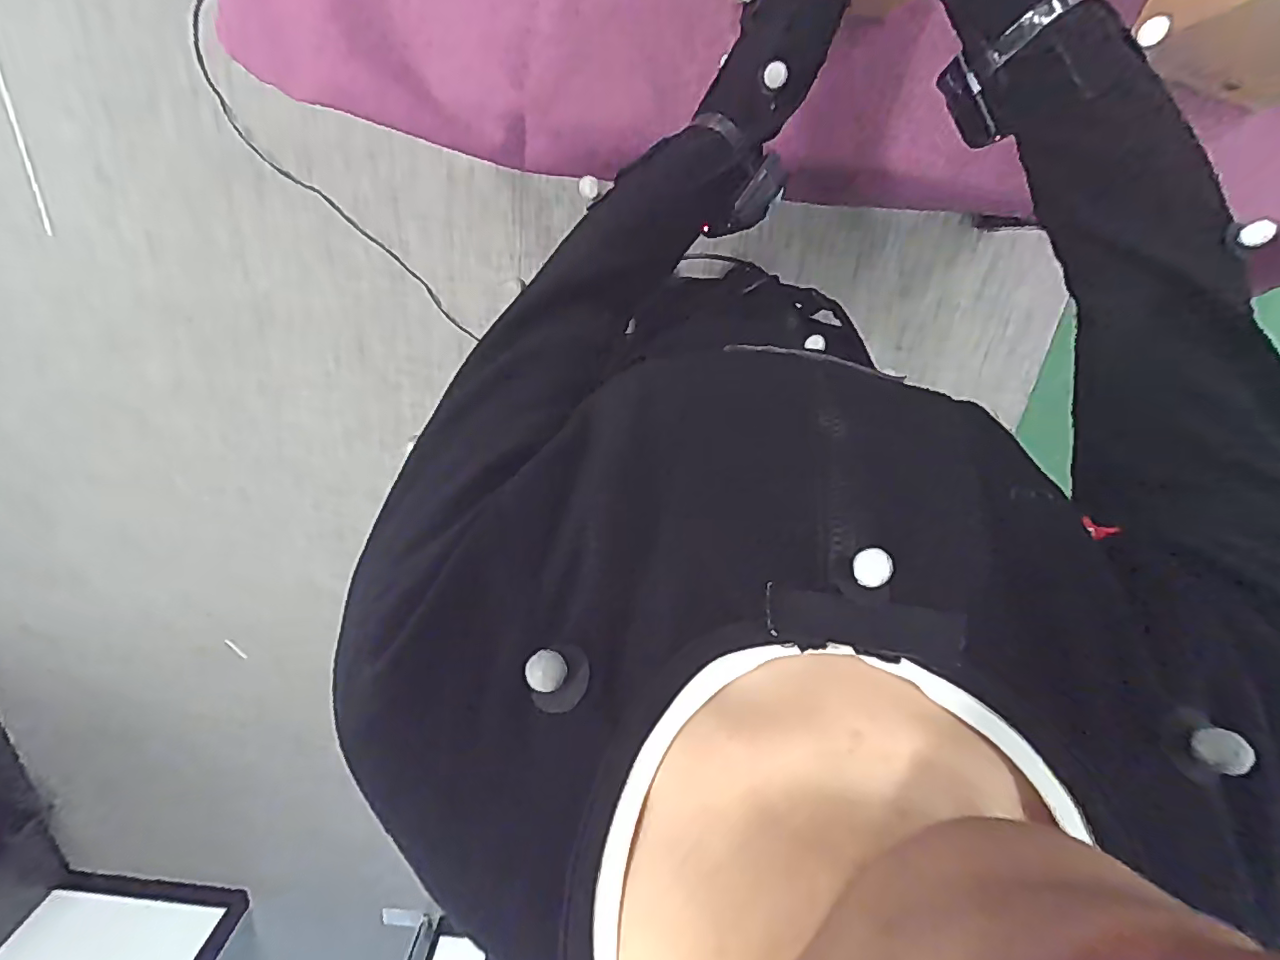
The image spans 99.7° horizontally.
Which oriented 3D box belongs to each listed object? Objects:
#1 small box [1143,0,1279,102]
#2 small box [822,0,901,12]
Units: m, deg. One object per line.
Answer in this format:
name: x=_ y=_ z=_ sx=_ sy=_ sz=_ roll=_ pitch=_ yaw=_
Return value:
small box: x=0.573 y=-0.439 z=0.432 sx=0.168 sy=0.176 sz=0.179 roll=17 pitch=113 yaw=-4
small box: x=0.176 y=-0.509 z=0.424 sx=0.168 sy=0.176 sz=0.179 roll=6 pitch=115 yaw=0
